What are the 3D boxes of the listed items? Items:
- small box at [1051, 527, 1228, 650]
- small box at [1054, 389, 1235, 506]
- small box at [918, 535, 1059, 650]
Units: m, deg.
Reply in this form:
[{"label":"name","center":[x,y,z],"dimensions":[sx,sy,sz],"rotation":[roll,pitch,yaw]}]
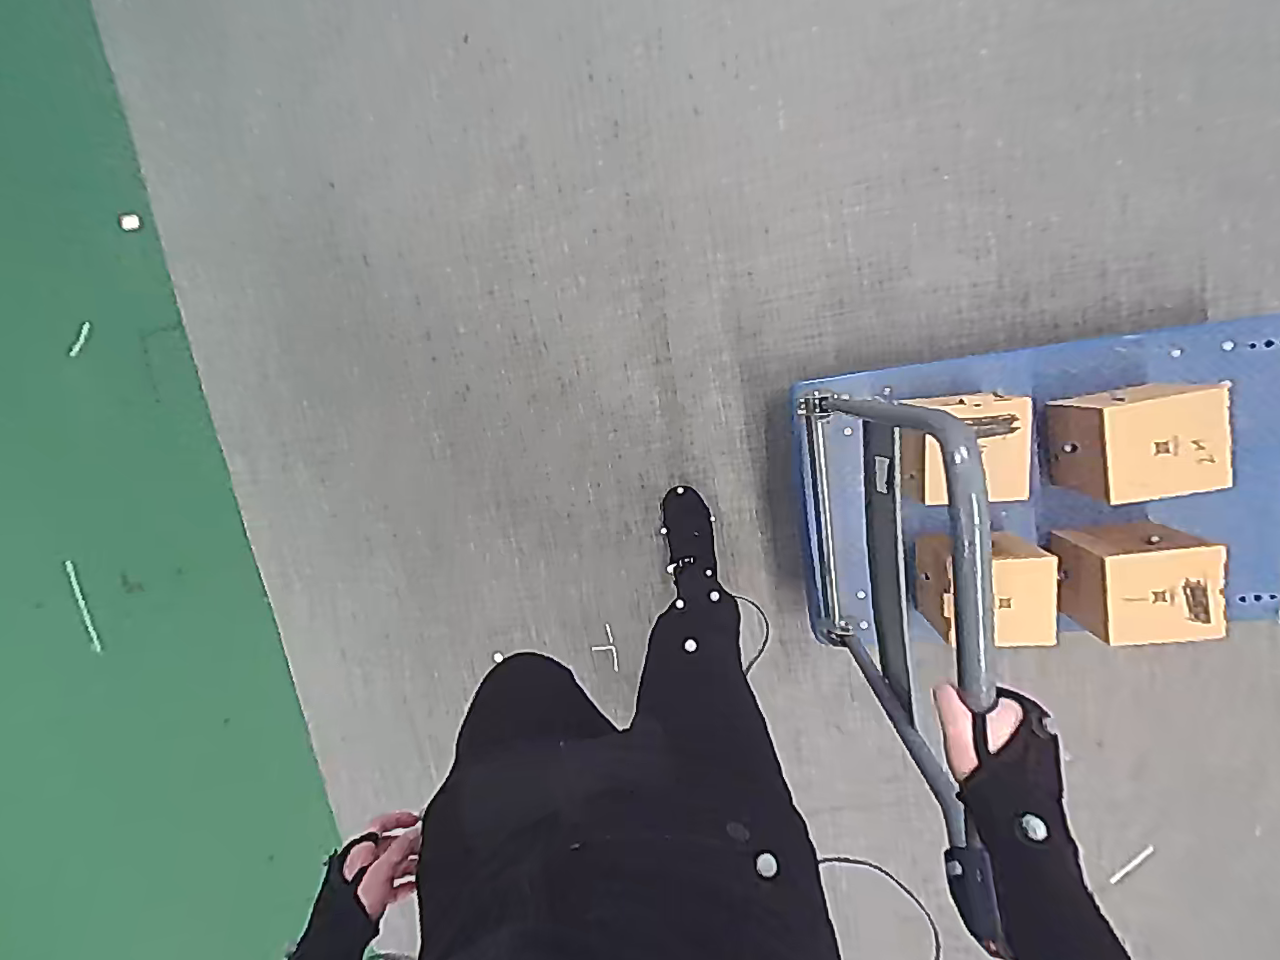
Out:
[{"label":"small box","center":[0.890,0.188,0.978],"dimensions":[0.179,0.176,0.168],"rotation":[-7,98,11]},{"label":"small box","center":[0.856,-0.061,0.938],"dimensions":[0.179,0.176,0.168],"rotation":[-10,99,11]},{"label":"small box","center":[0.646,0.205,1.023],"dimensions":[0.179,0.176,0.168],"rotation":[-4,100,12]}]
